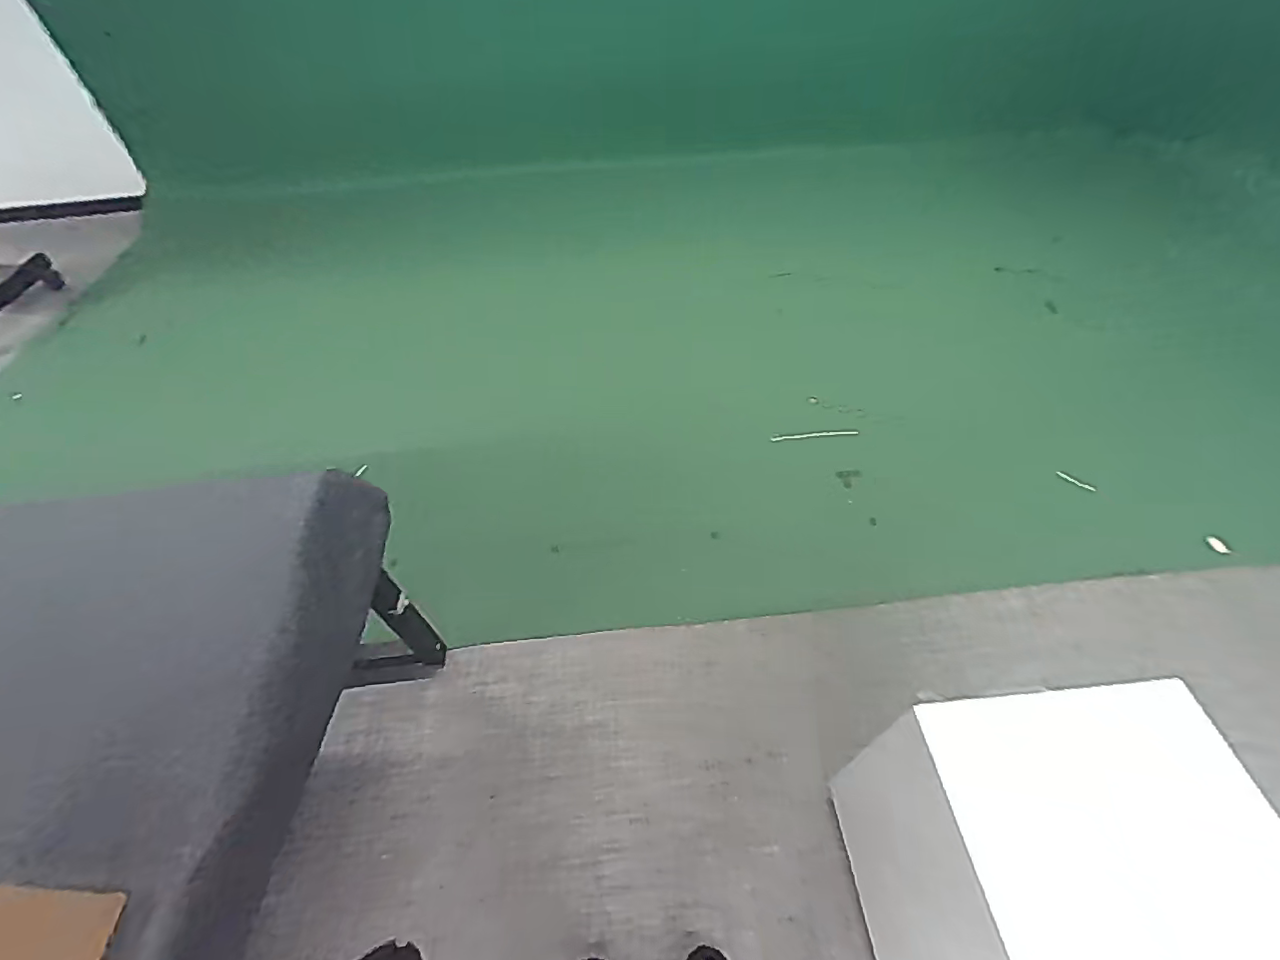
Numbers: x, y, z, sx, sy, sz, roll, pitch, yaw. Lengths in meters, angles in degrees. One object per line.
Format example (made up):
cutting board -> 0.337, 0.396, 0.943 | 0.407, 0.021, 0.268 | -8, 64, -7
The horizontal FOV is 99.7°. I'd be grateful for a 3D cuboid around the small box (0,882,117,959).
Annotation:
small box -> -0.620, 0.454, 0.458 | 0.168, 0.176, 0.179 | -5, 51, 1
